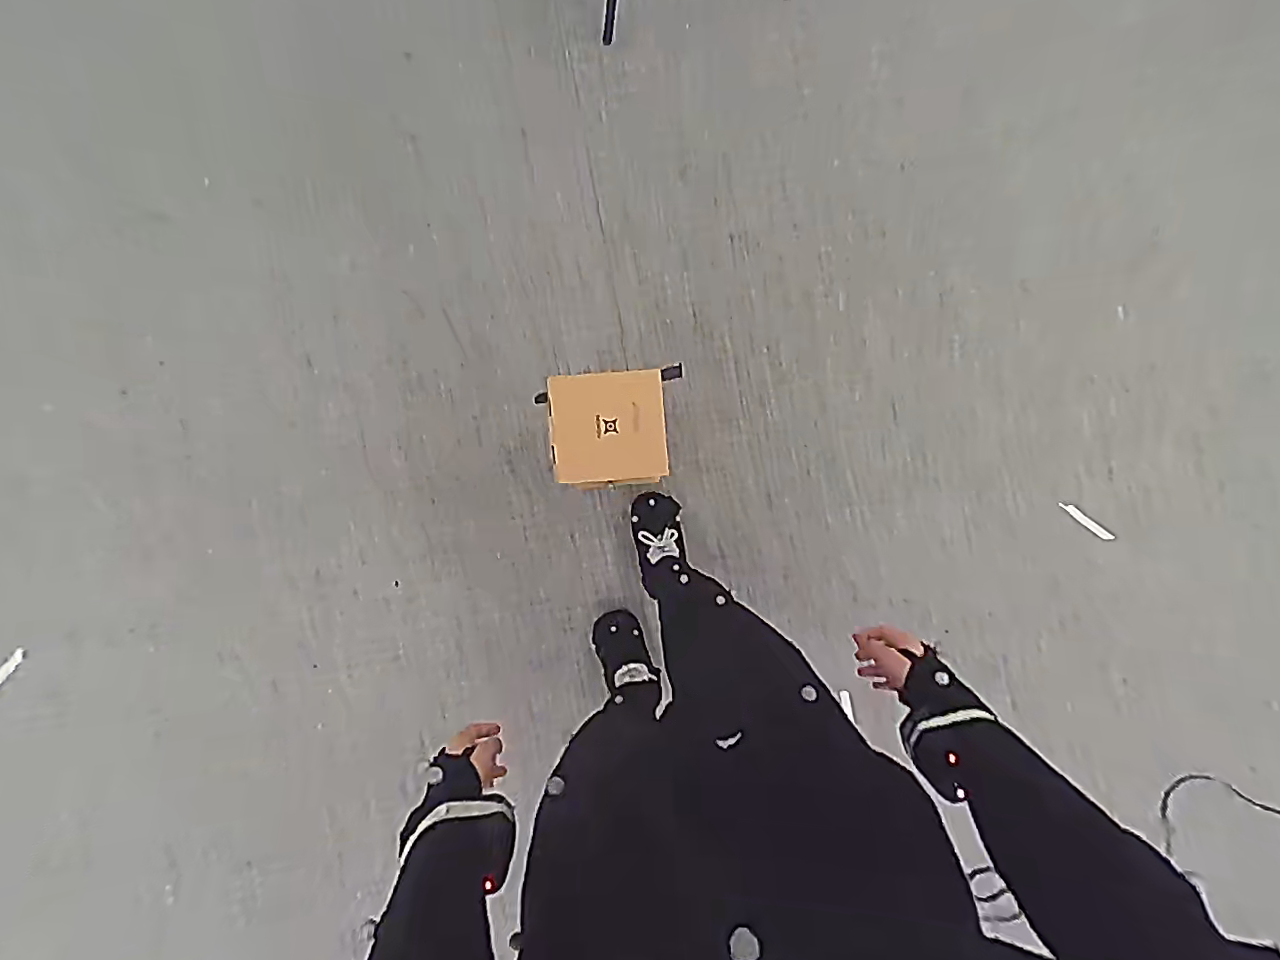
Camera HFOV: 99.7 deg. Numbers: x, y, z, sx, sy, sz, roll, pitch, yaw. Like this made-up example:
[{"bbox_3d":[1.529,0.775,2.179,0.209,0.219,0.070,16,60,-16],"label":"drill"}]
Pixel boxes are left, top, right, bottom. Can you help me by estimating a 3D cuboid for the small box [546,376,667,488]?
[{"bbox_3d":[-0.053,-0.073,0.904,0.179,0.176,0.168,-5,92,-3],"label":"small box"}]
